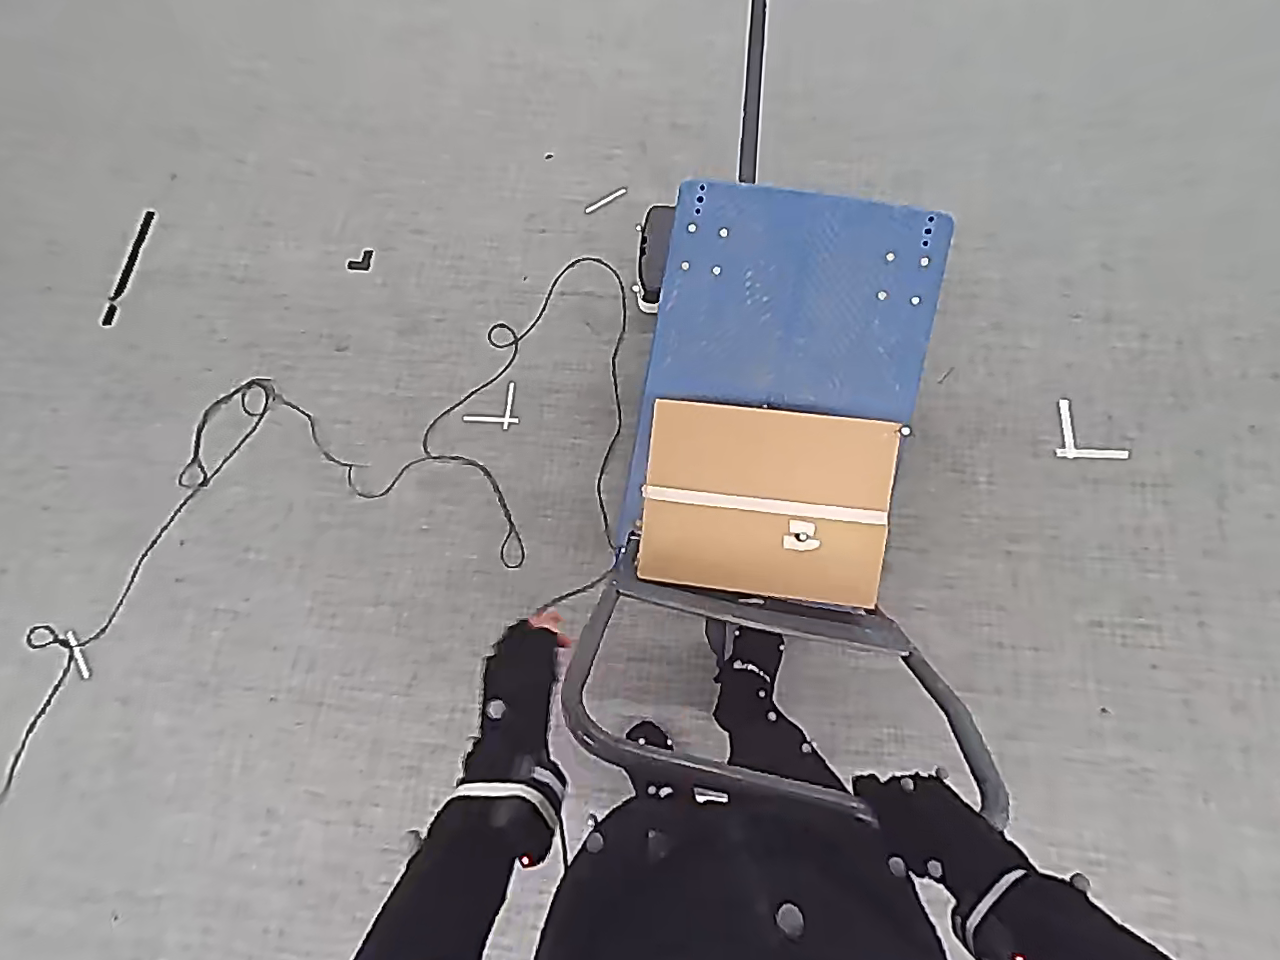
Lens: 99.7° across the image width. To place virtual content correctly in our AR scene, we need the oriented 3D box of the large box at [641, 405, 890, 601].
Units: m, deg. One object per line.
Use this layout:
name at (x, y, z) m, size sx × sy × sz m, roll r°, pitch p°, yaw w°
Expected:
large box at (0.220, 0.029, 1.077) m, size 0.408 × 0.320 × 0.320 m, roll 6°, pitch 96°, yaw 5°
